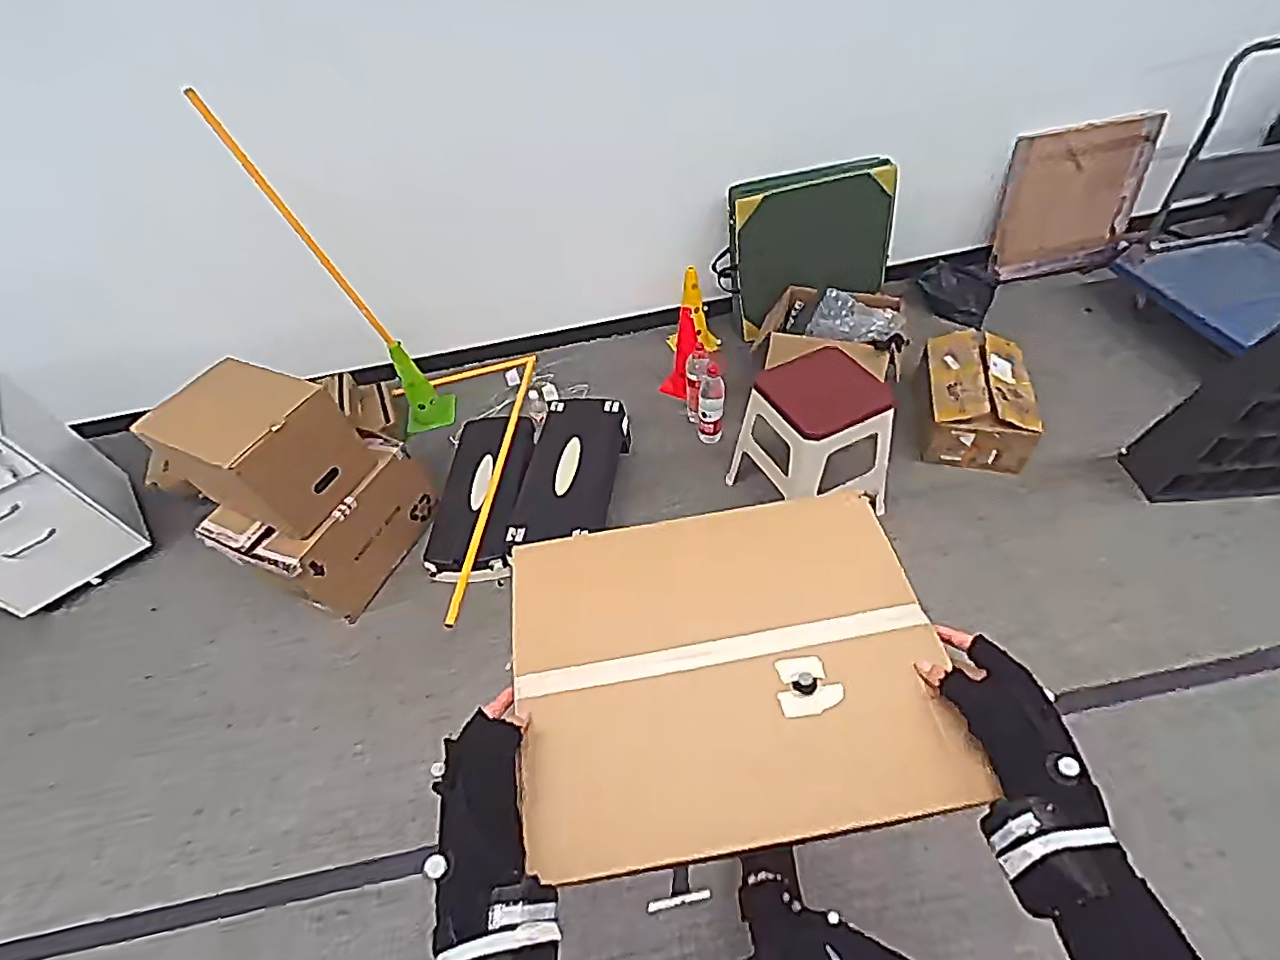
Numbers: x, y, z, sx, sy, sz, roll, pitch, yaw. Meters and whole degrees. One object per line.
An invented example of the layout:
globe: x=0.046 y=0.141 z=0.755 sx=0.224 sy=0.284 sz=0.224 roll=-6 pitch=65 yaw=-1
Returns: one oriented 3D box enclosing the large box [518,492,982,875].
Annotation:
large box: x=0.087 y=0.256 z=0.661 sx=0.408 sy=0.320 sz=0.320 roll=-10 pitch=54 yaw=-2
